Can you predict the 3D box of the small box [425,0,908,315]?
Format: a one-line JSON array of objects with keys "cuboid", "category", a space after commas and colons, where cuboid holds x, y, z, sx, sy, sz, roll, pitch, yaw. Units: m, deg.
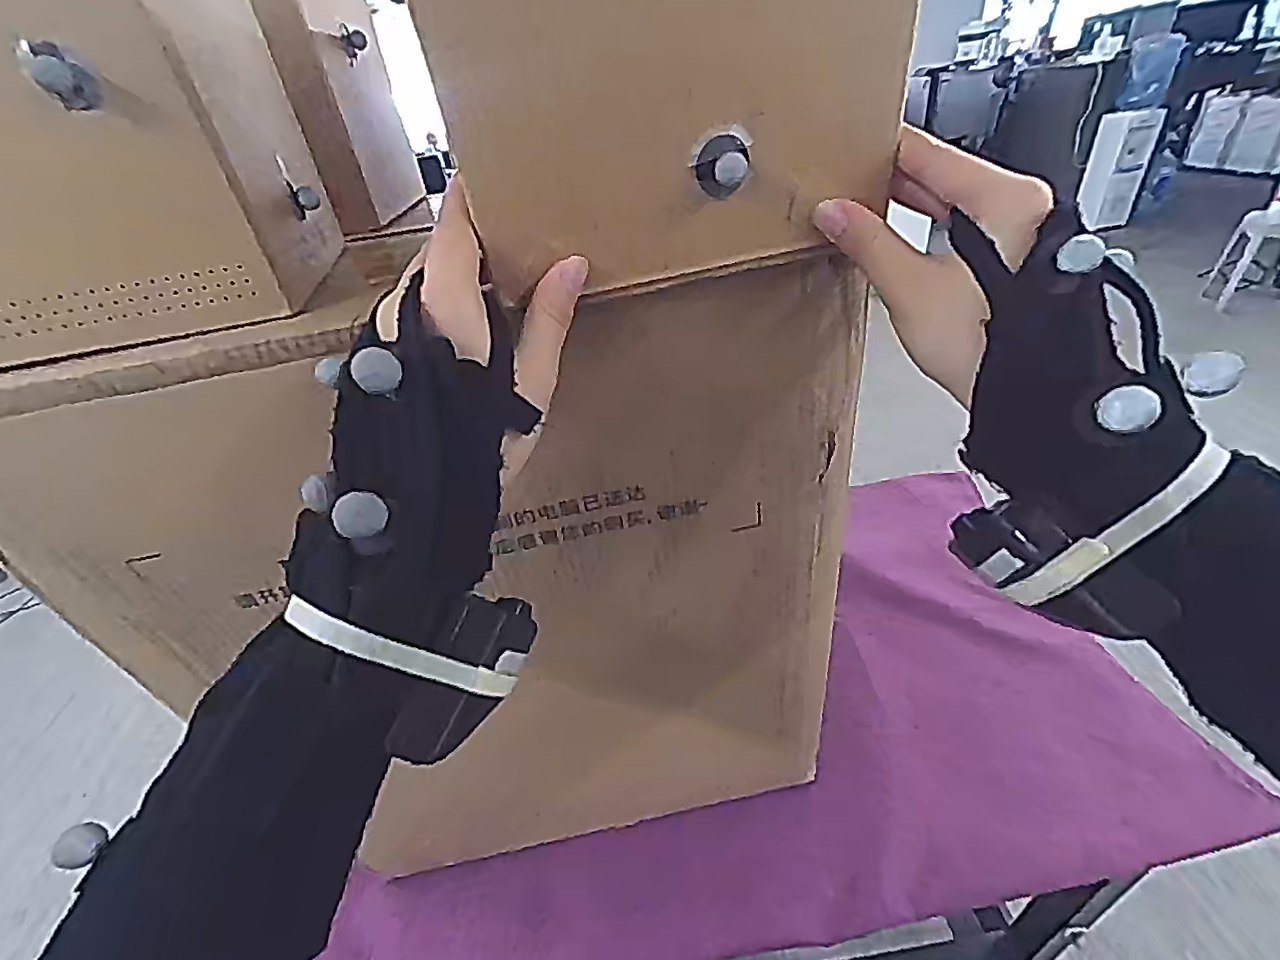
[{"cuboid": [0.003, -0.202, 0.247, 0.179, 0.176, 0.168, -13, 40, -4], "category": "small box"}]
